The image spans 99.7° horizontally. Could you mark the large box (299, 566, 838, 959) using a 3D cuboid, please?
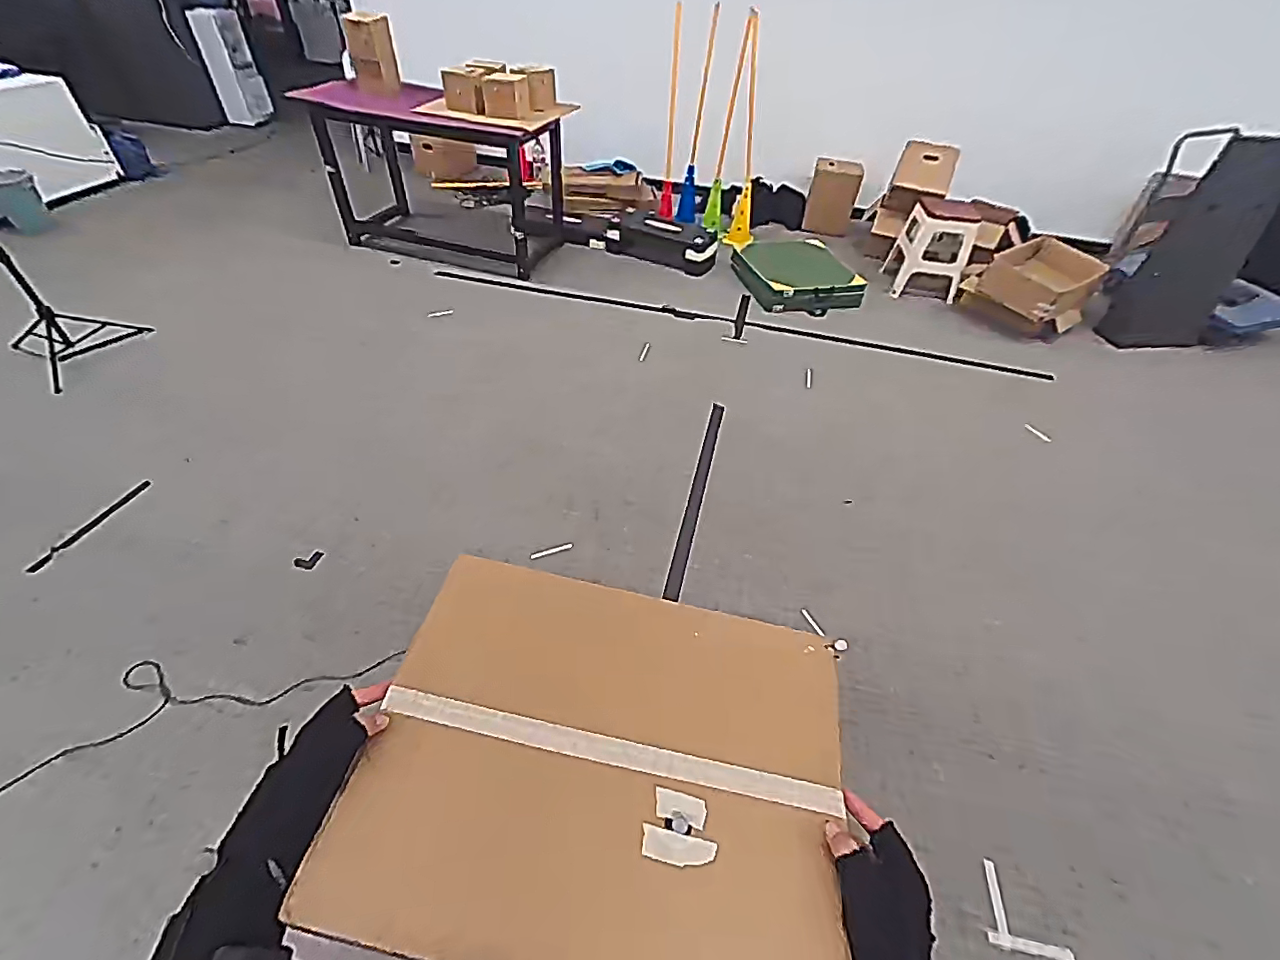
[{"bbox_3d":[-0.046,0.339,0.589,0.408,0.320,0.320,13,49,2],"label":"large box"}]
